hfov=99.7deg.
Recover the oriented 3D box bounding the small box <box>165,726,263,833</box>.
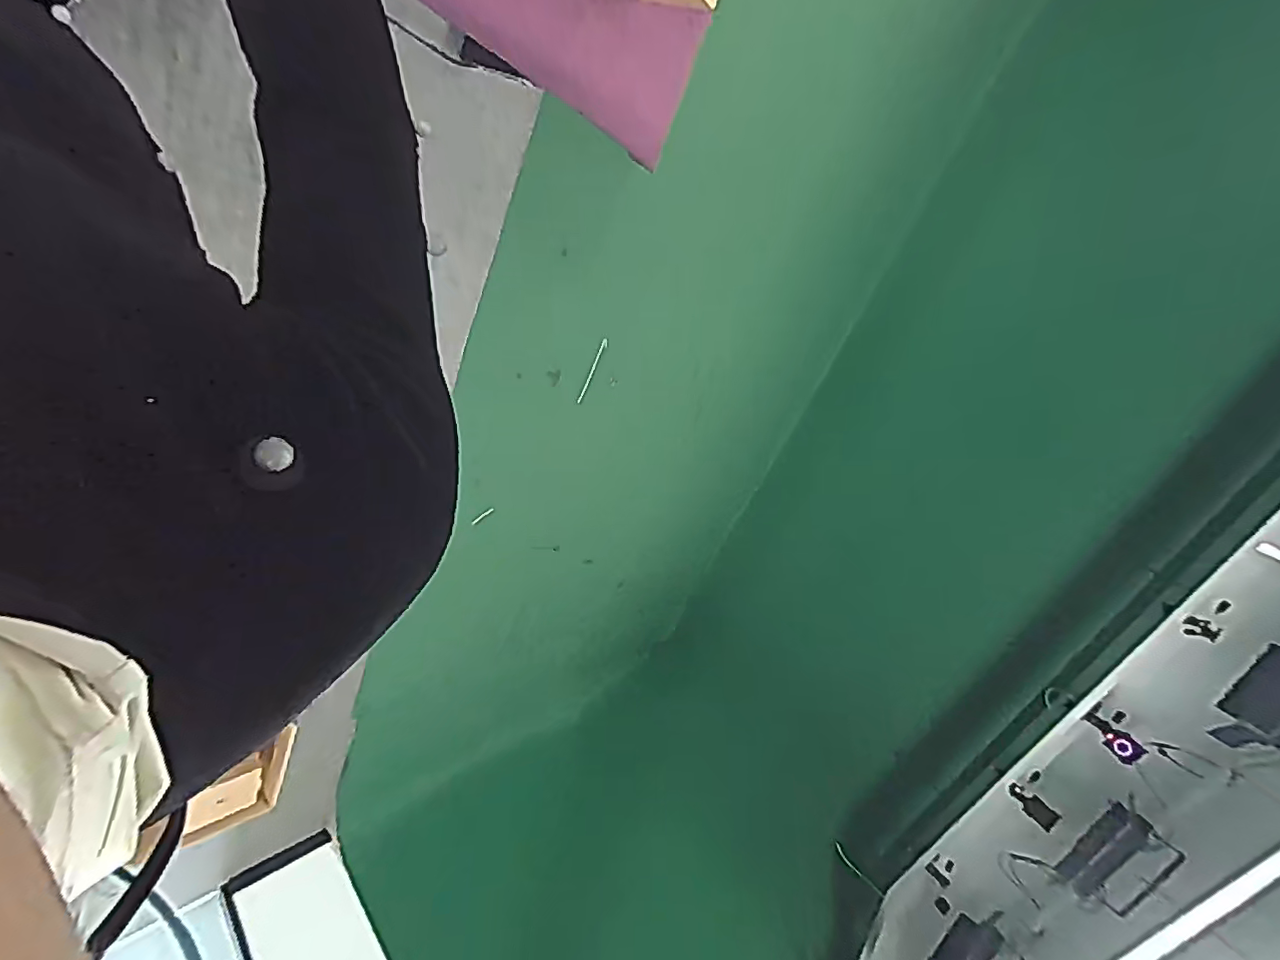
[{"bbox_3d":[-1.200,0.830,1.521,0.179,0.176,0.168,-3,125,-51],"label":"small box"}]

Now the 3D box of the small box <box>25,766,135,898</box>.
[{"bbox_3d":[-1.364,0.845,1.316,0.168,0.176,0.179,-1,123,-52],"label":"small box"}]

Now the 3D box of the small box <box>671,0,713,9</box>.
[{"bbox_3d":[0.032,-0.822,0.762,0.179,0.176,0.168,-5,127,-51],"label":"small box"}]
